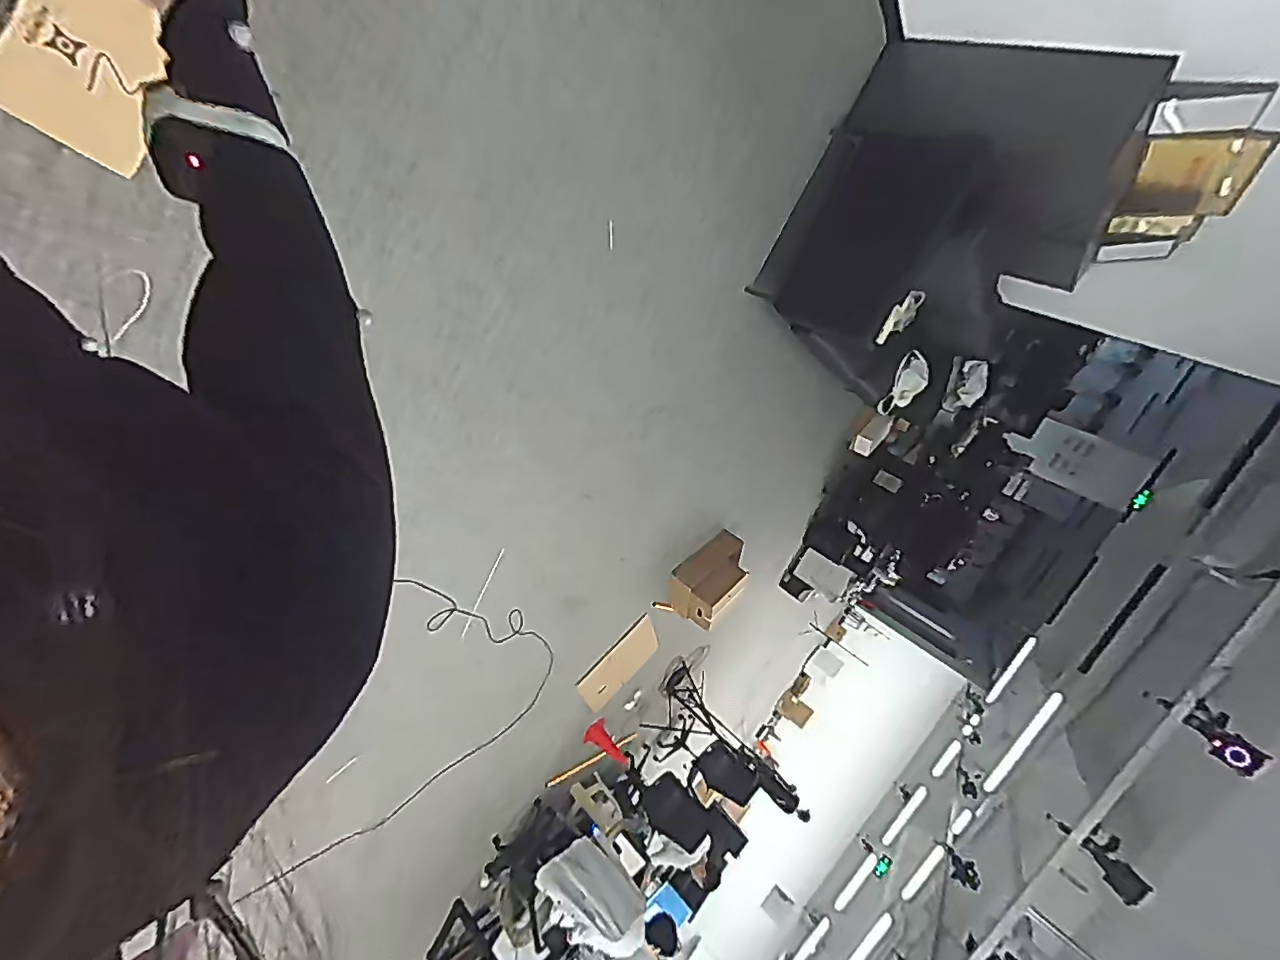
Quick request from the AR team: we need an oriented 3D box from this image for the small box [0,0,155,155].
[{"bbox_3d":[-0.710,-0.519,0.619,0.168,0.176,0.179,17,103,-58],"label":"small box"}]
